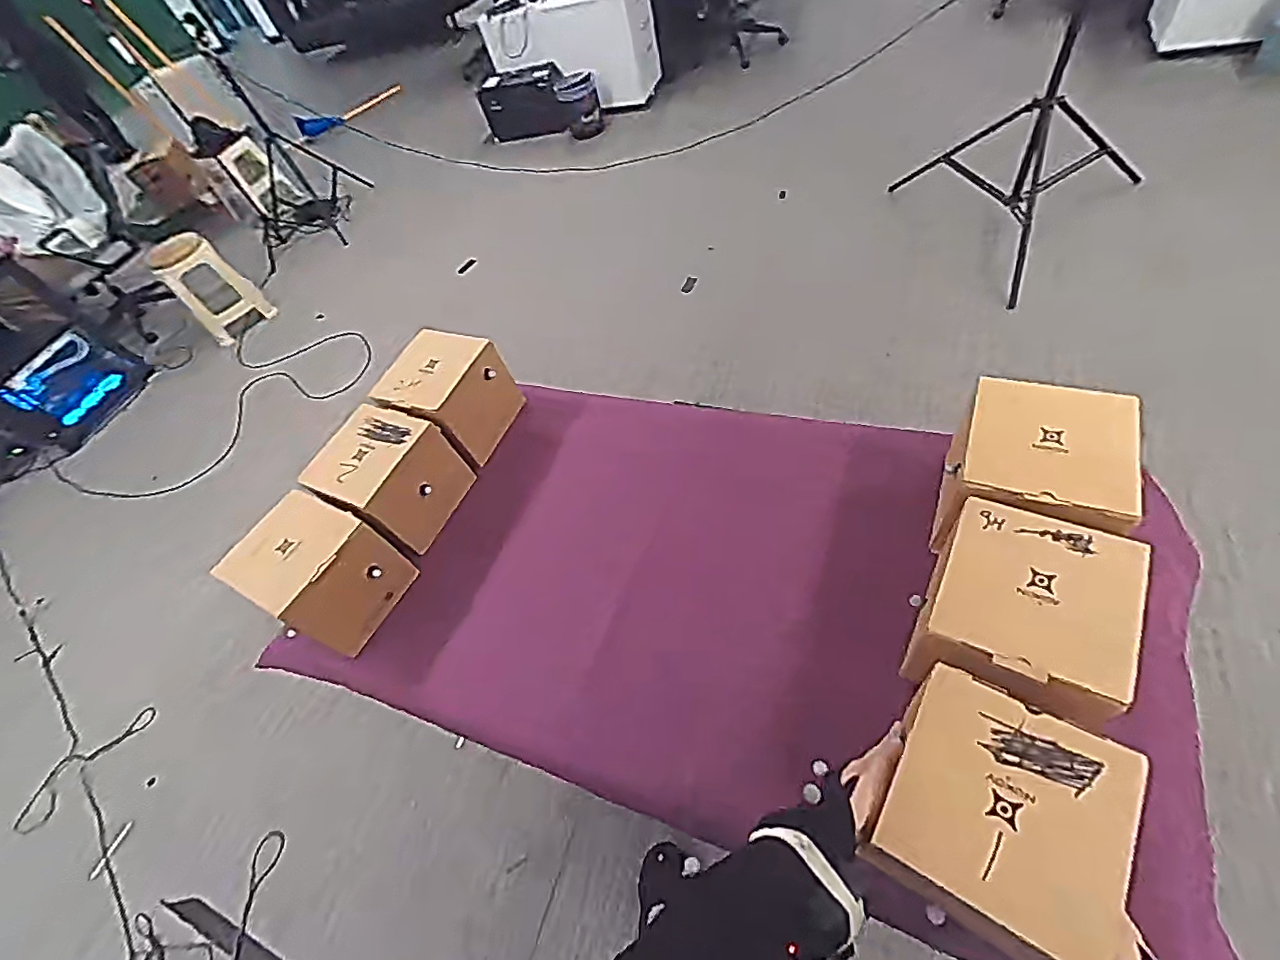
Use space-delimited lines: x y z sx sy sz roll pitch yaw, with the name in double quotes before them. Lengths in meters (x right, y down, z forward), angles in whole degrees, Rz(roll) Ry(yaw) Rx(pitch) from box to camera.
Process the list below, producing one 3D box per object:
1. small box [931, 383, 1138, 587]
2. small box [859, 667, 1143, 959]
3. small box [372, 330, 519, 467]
"small box" 0.487 0.007 0.688 0.168 0.176 0.179 15 60 23
"small box" 0.323 0.317 0.514 0.168 0.176 0.179 23 63 29
"small box" -0.352 -0.154 1.024 0.168 0.176 0.179 14 61 24
